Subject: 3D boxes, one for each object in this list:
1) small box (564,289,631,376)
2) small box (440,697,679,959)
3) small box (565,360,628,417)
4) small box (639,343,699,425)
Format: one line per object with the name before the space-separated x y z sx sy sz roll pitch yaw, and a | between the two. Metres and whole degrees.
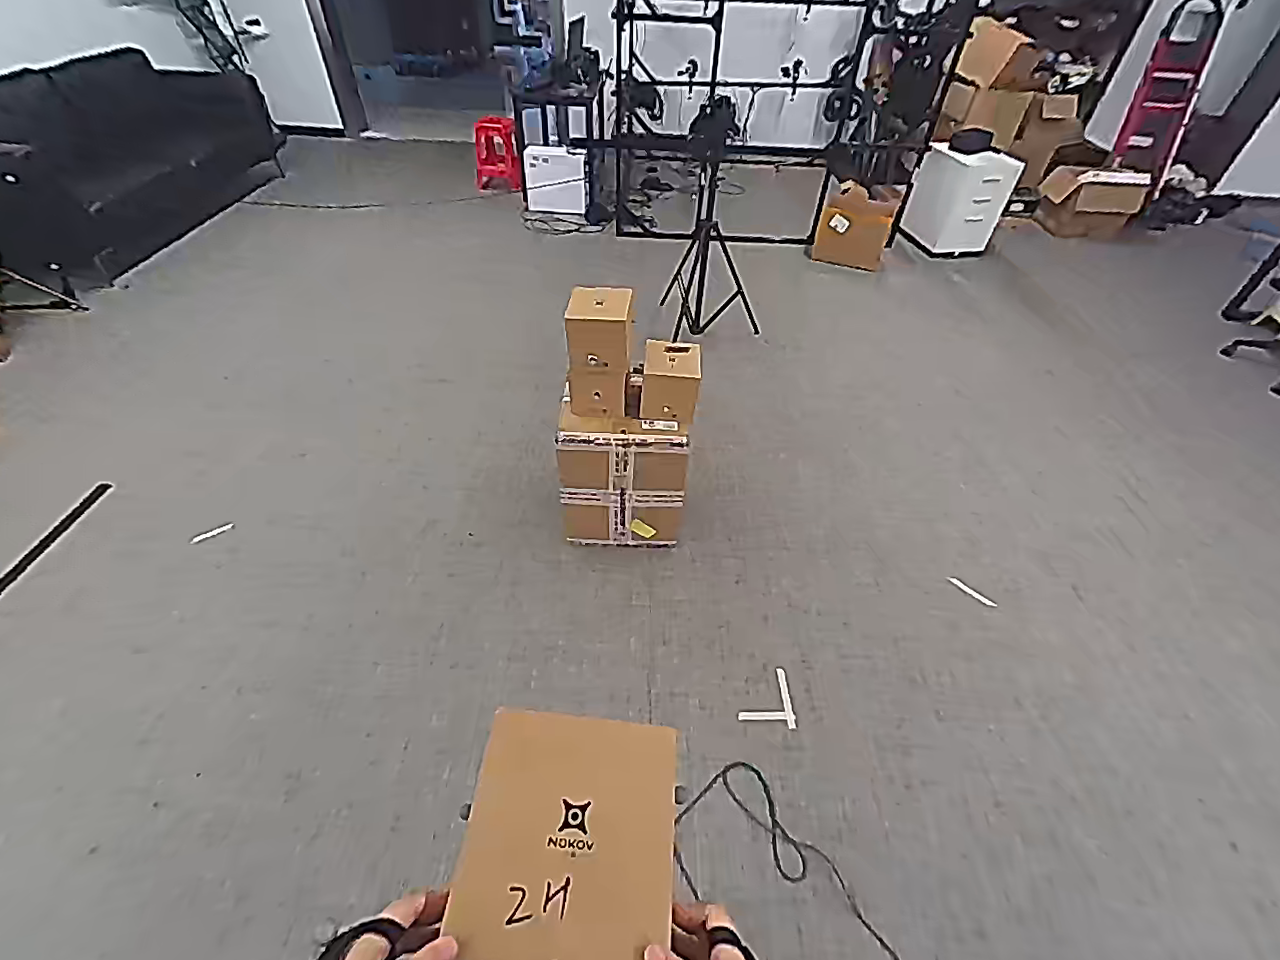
small box | -0.113 -0.414 1.517 0.168 0.176 0.179 2 47 3
small box | -0.062 0.323 0.487 0.168 0.176 0.179 7 47 -1
small box | -0.124 -0.306 1.639 0.168 0.176 0.179 3 47 3
small box | 0.084 -0.292 1.636 0.168 0.176 0.179 4 46 0
